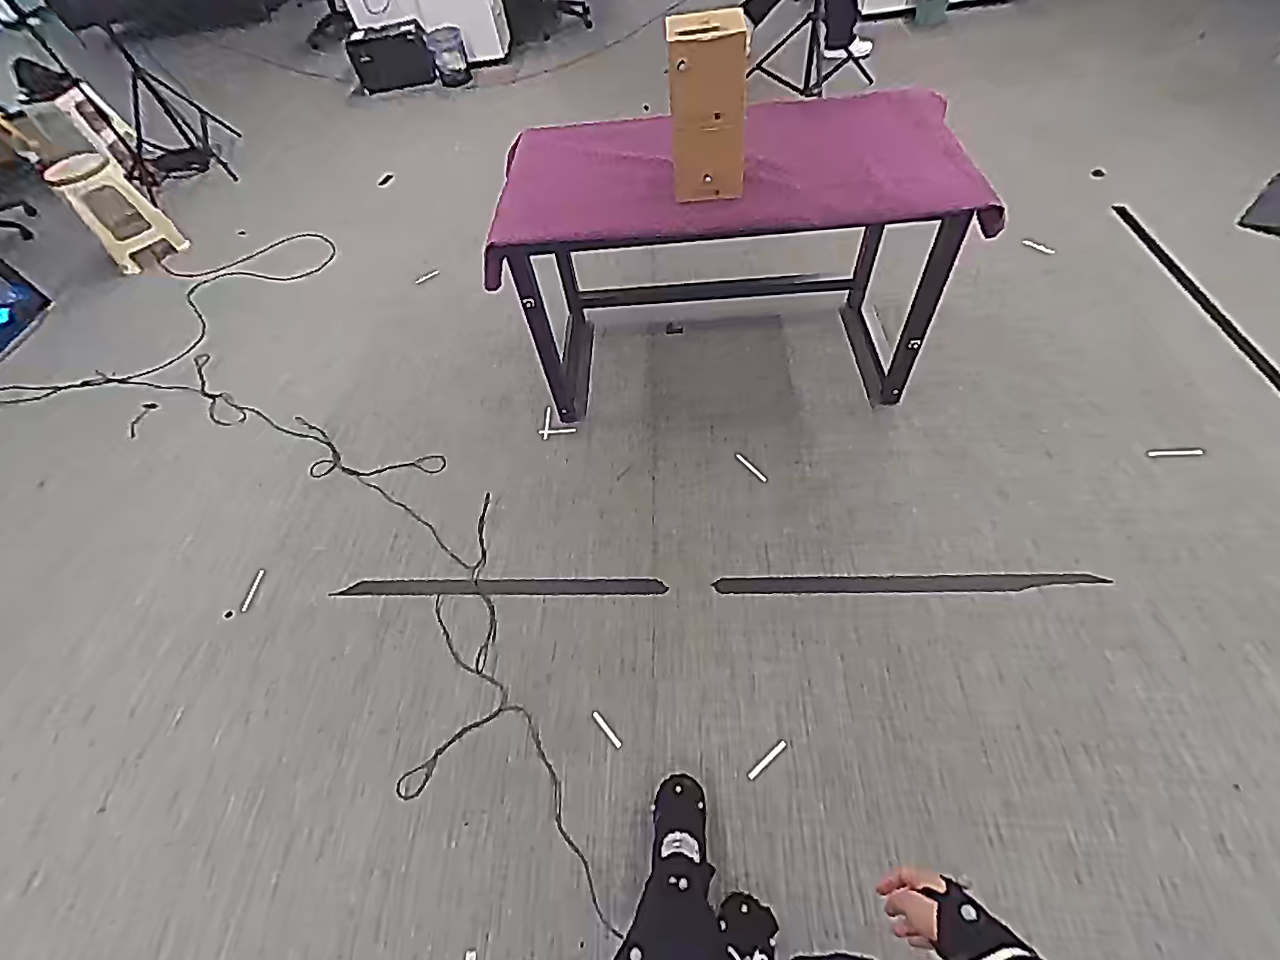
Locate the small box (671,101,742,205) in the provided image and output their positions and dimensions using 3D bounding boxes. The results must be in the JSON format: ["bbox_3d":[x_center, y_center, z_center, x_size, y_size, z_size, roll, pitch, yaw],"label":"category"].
[{"bbox_3d":[0.165,-0.816,1.354,0.168,0.176,0.179,-1,54,7],"label":"small box"}]
